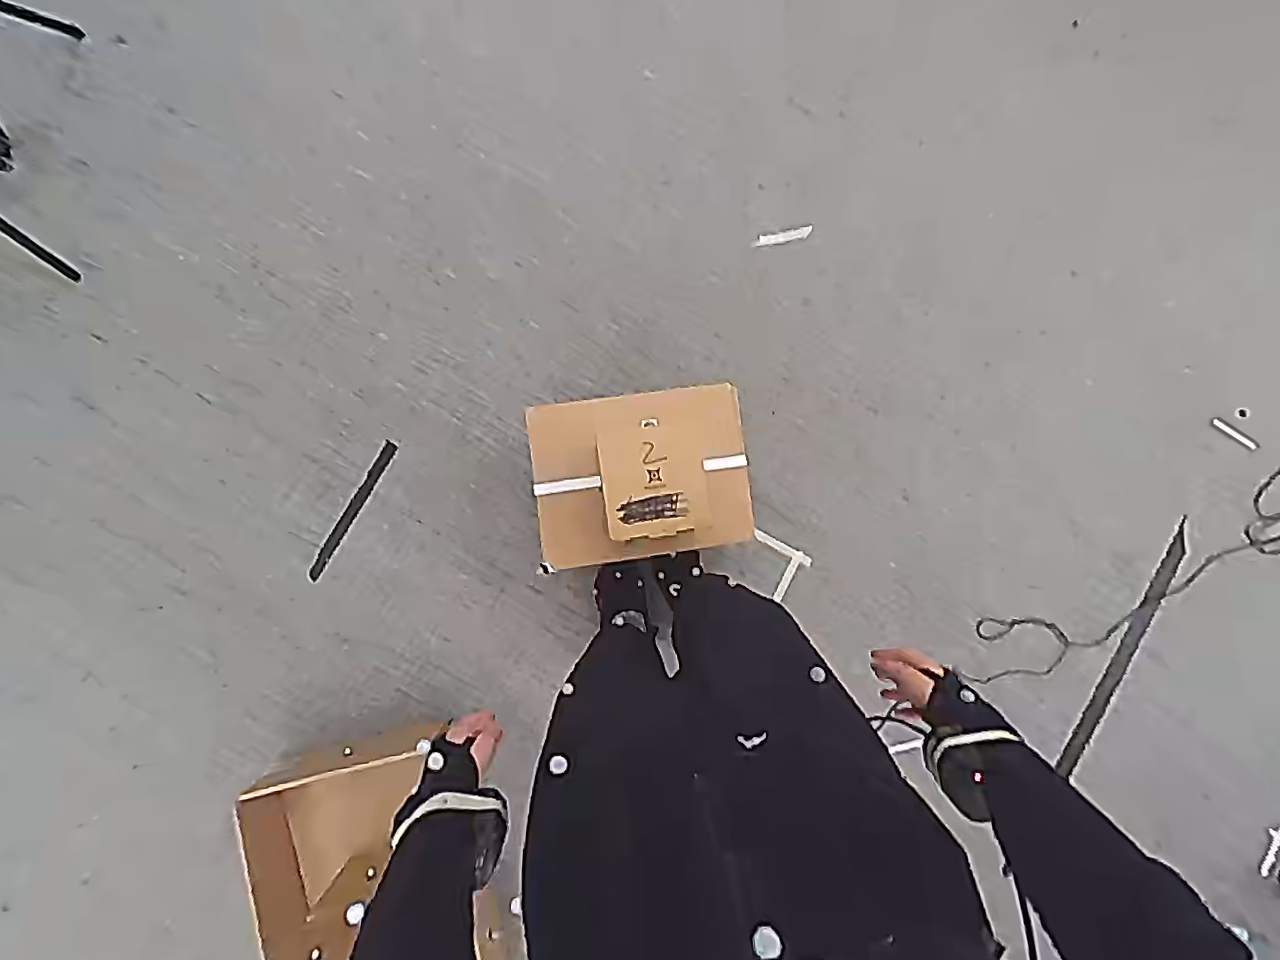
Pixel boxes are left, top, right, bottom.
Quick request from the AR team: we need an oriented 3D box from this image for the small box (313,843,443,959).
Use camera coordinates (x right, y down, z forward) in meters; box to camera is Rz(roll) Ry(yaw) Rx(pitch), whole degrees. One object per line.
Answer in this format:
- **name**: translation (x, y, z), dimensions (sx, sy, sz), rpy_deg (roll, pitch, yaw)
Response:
- **small box**: translation (-0.531, 0.897, 1.116), dimensions (0.179, 0.176, 0.168), rpy_deg (-13, 88, -5)
